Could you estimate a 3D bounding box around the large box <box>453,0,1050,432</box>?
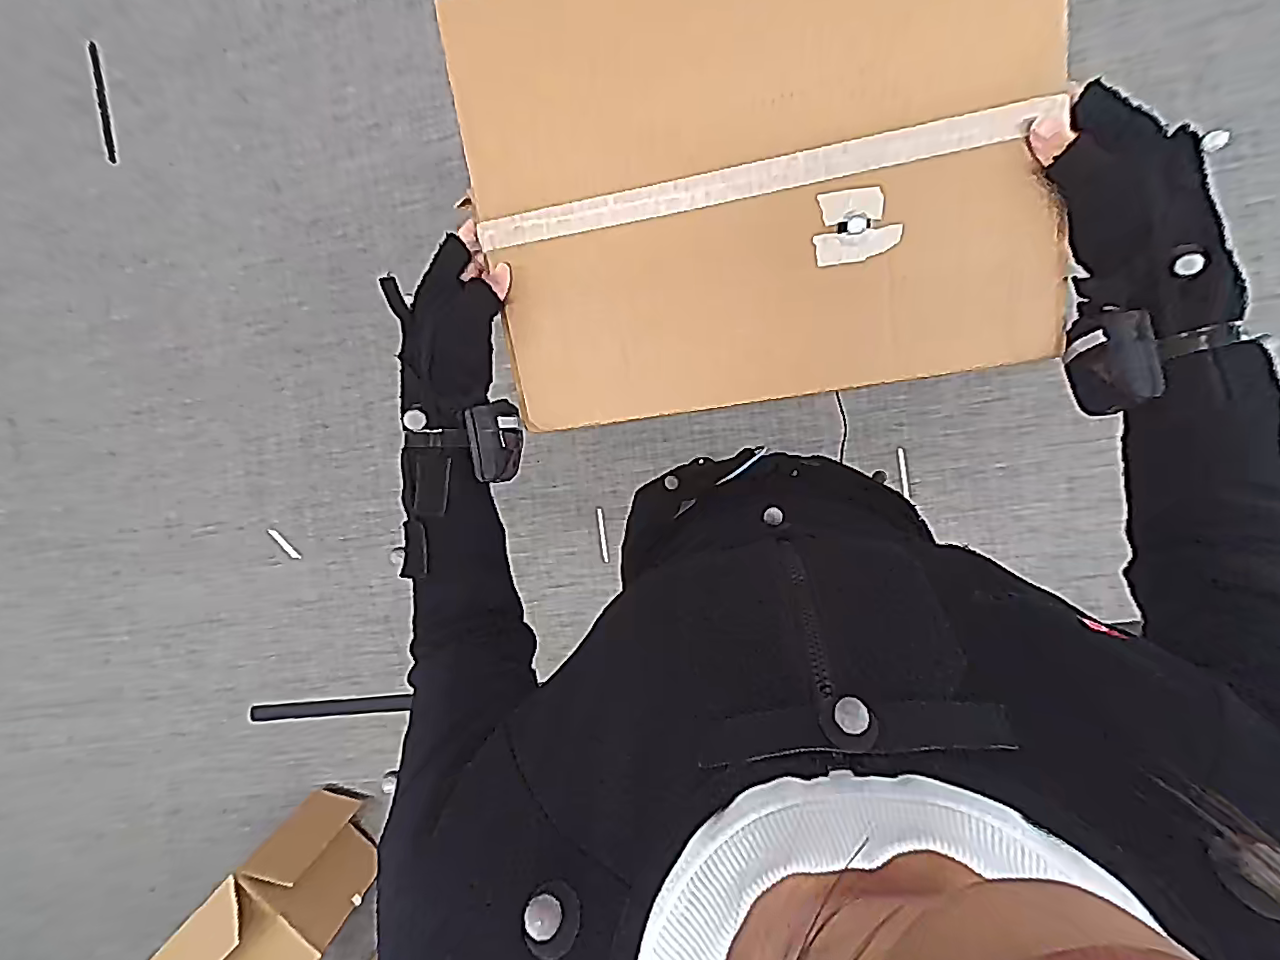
[{"bbox_3d":[0.097,-0.251,0.539,0.408,0.320,0.320,-8,104,9],"label":"large box"}]
